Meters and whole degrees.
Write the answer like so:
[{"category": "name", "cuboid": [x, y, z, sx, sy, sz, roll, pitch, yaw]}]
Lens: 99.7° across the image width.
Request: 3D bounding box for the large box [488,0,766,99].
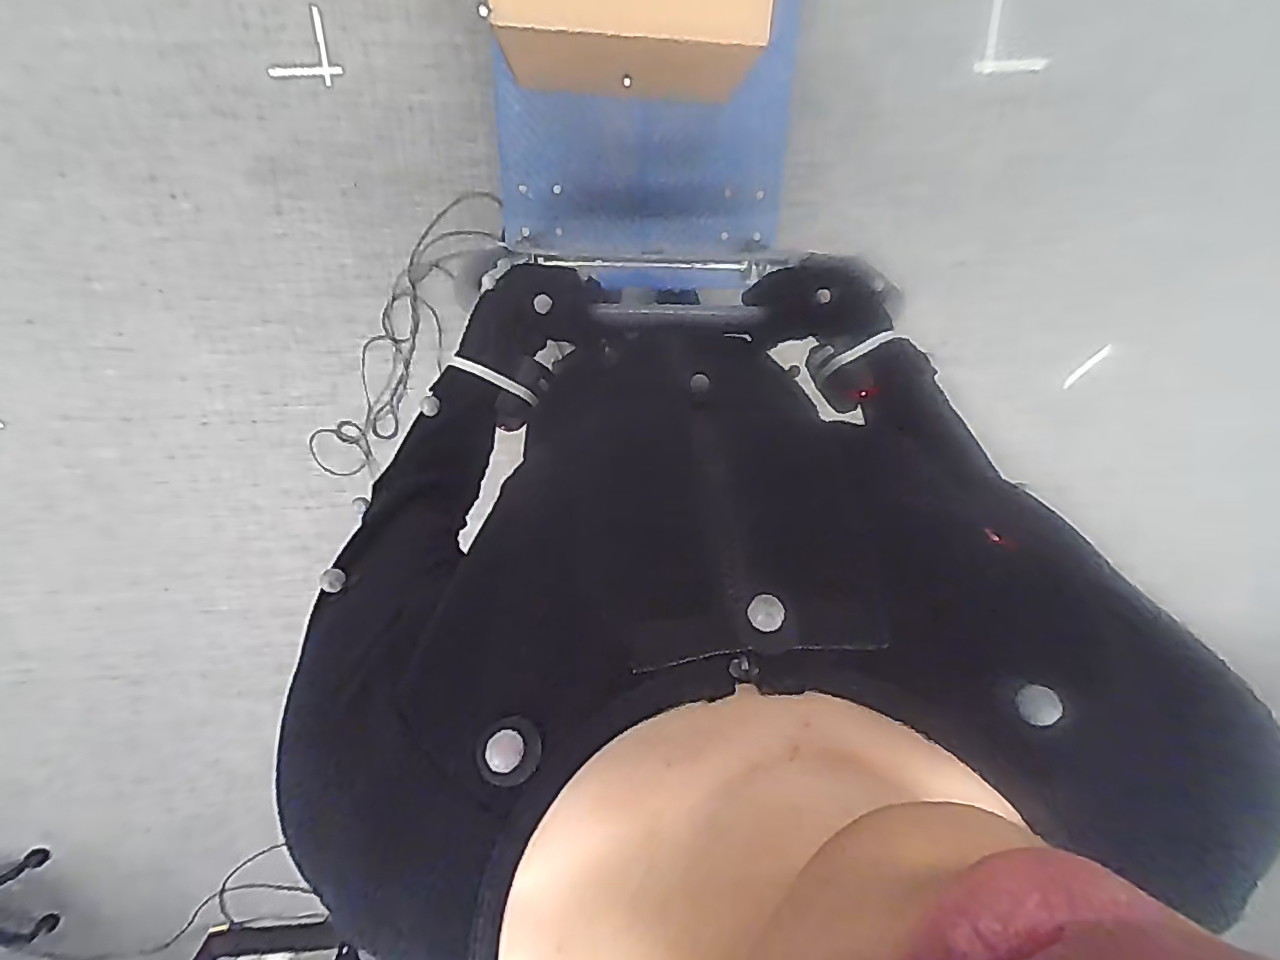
[{"category": "large box", "cuboid": [-0.018, -0.839, 0.869, 0.408, 0.320, 0.320, 1, 111, -3]}]
